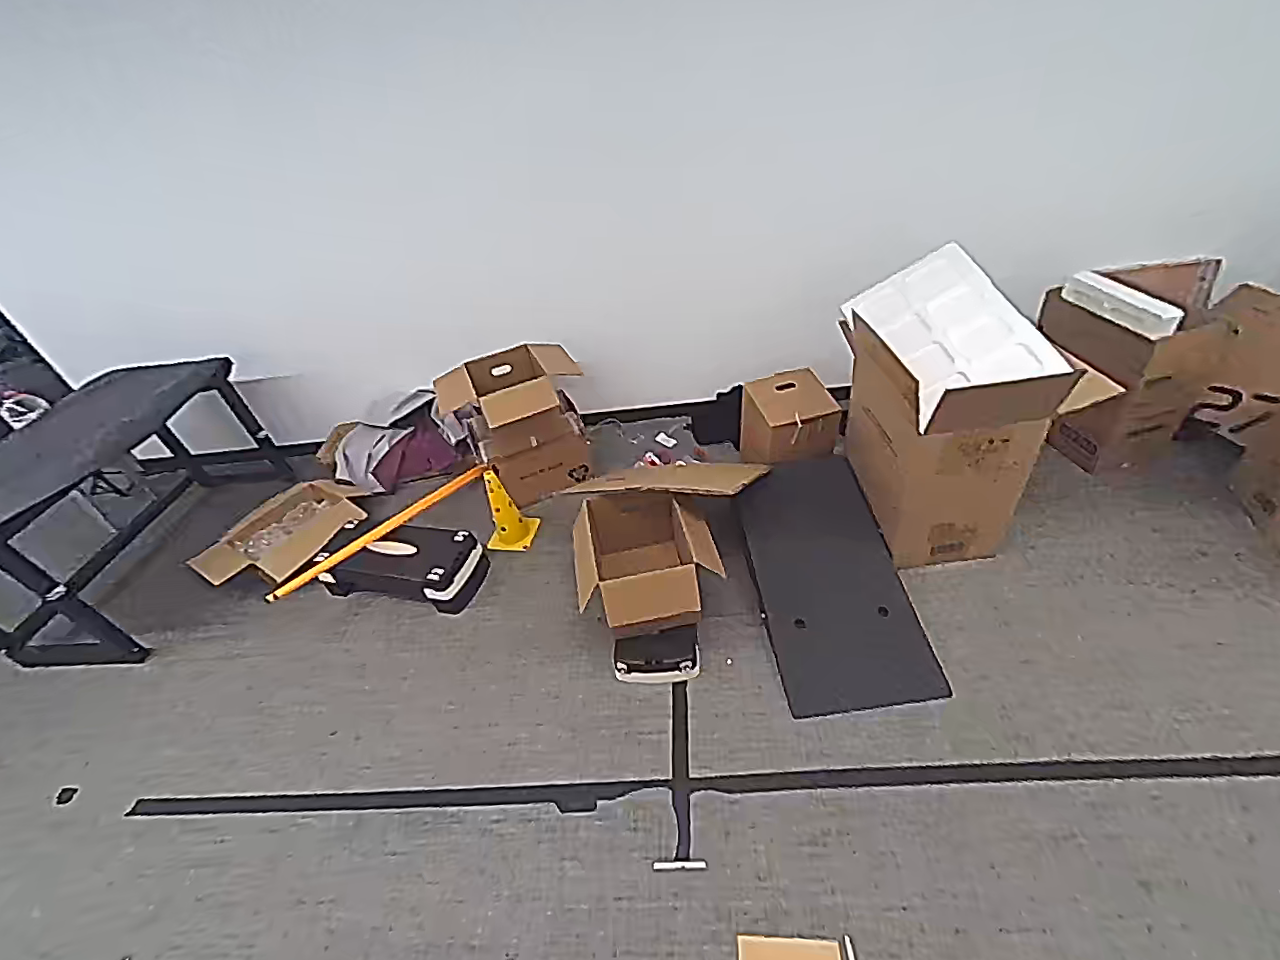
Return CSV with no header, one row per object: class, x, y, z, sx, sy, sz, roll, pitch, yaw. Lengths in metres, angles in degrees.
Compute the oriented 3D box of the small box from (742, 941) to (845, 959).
small box,0.250,0.877,0.868,0.168,0.176,0.179,-3,40,8
